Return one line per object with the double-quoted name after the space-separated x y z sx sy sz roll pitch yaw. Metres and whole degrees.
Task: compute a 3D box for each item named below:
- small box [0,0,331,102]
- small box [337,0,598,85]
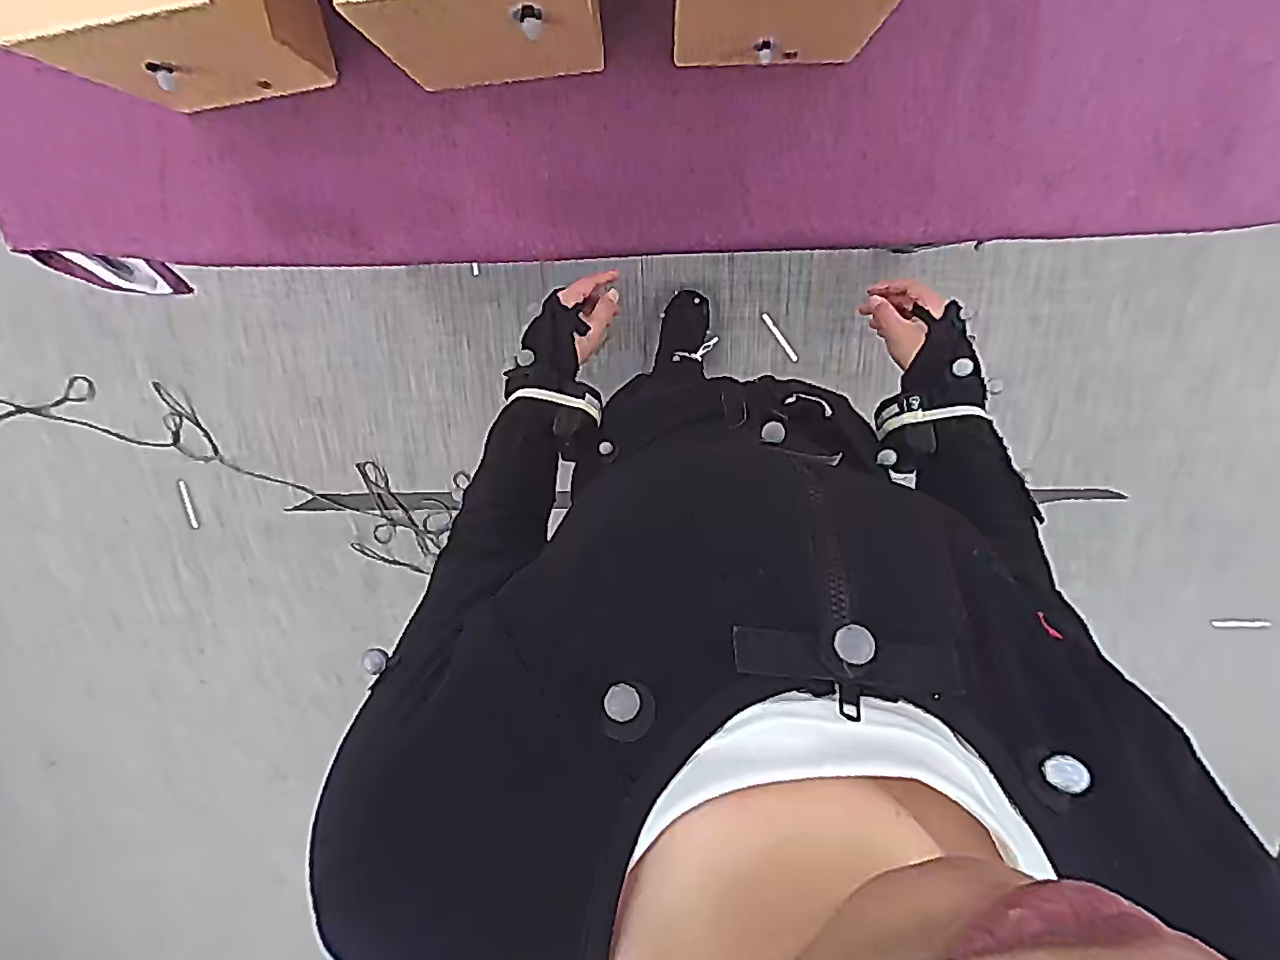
-0.384 -0.428 0.426 0.168 0.176 0.179 -8 108 4 "small box"
-0.128 -0.434 0.413 0.179 0.176 0.168 -5 108 3 "small box"
